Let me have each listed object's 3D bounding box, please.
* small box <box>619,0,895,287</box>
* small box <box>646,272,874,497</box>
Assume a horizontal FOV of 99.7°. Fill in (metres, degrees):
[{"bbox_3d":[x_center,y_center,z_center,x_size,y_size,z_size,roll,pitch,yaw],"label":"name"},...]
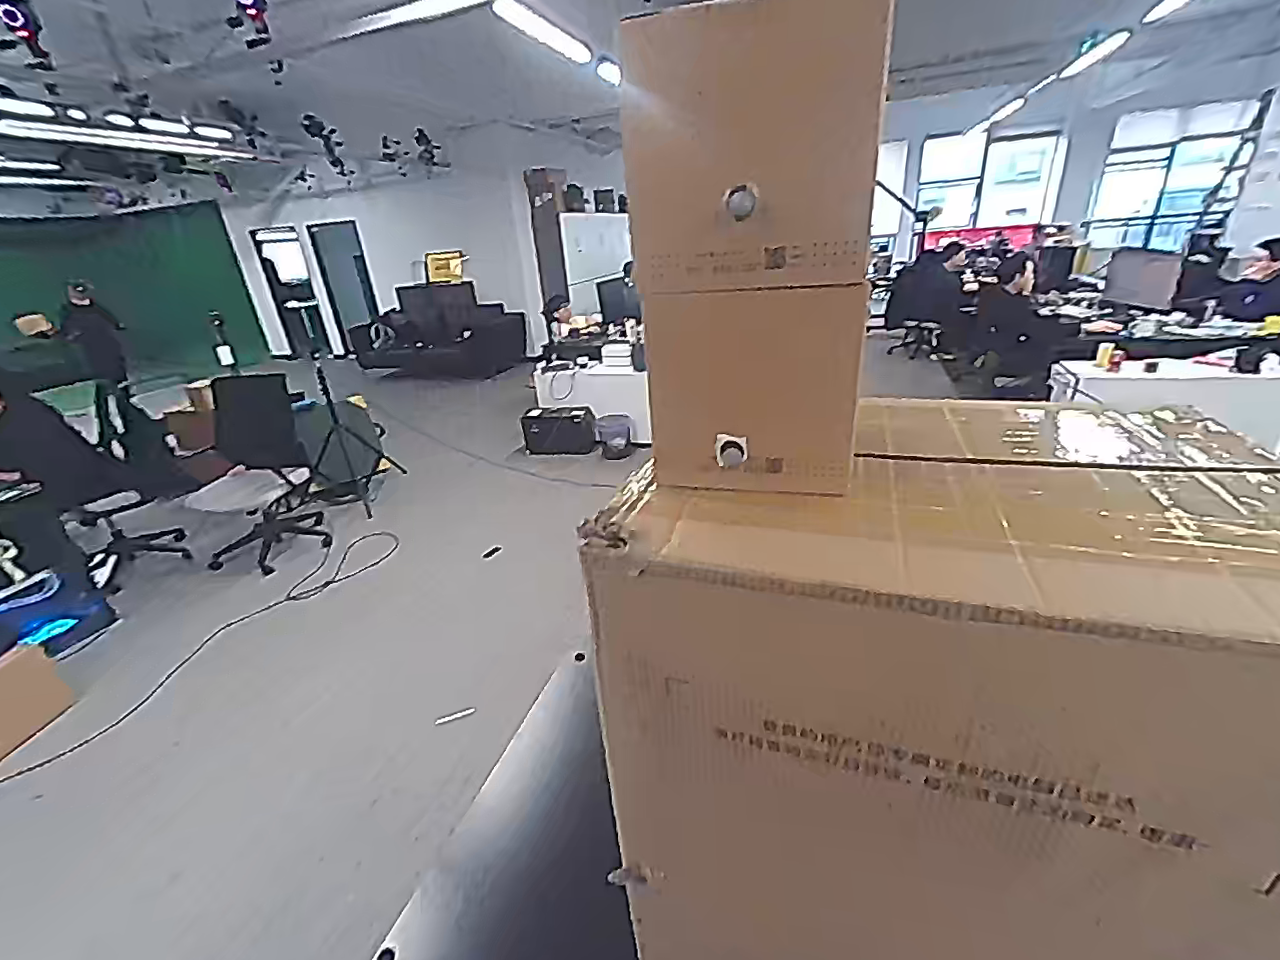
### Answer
[{"bbox_3d":[0.092,-0.248,0.423,0.168,0.176,0.179,3,27,17],"label":"small box"},{"bbox_3d":[0.108,-0.100,0.496,0.168,0.176,0.179,2,27,15],"label":"small box"}]
